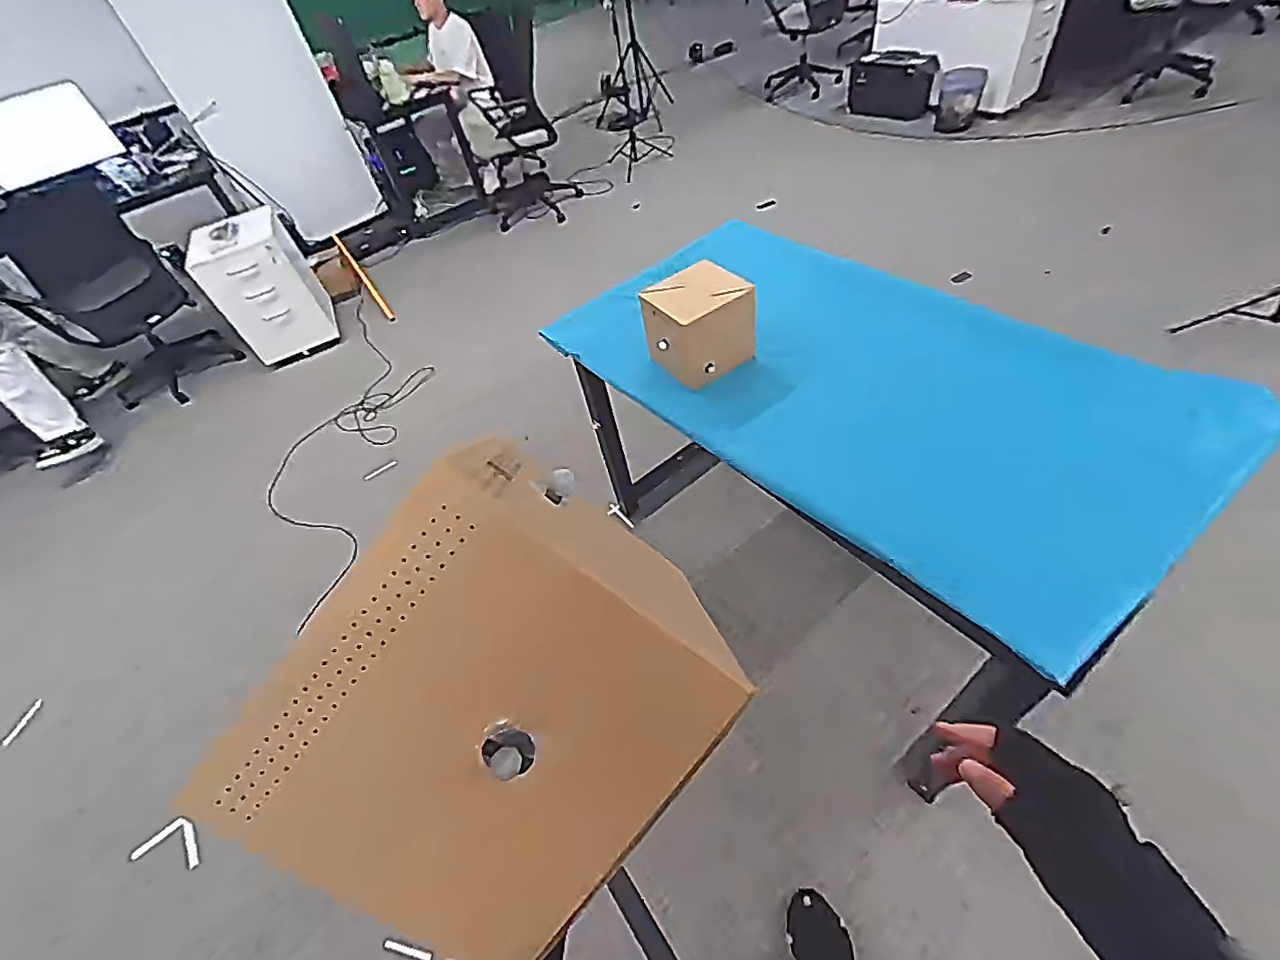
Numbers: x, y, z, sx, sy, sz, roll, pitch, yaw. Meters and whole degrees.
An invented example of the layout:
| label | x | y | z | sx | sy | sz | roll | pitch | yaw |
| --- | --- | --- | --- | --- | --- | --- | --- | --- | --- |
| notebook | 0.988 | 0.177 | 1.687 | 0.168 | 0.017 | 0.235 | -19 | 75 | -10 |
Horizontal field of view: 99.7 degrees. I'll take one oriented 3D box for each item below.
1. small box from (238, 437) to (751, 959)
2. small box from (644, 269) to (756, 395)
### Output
| label | x | y | z | sx | sy | sz | roll | pitch | yaw |
| --- | --- | --- | --- | --- | --- | --- | --- | --- | --- |
| small box | -0.075 | 0.095 | 0.308 | 0.179 | 0.176 | 0.168 | -53 | 10 | 2 |
| small box | 0.126 | -0.318 | 1.145 | 0.179 | 0.176 | 0.168 | -32 | 51 | -15 |
